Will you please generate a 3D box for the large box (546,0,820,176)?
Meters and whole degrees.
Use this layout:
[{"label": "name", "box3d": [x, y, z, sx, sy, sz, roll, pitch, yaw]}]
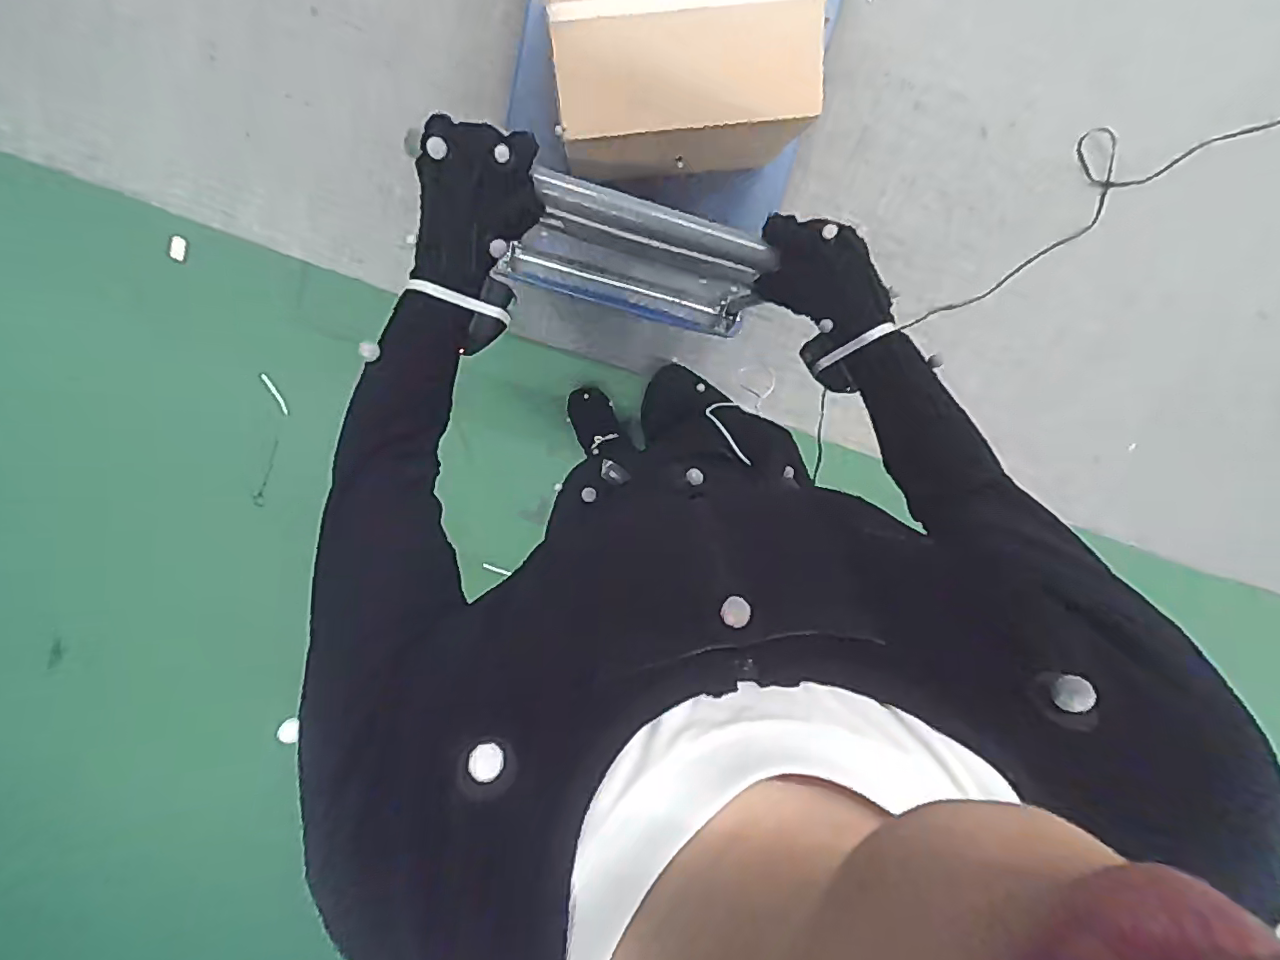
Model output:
[{"label": "large box", "box3d": [0.057, -0.742, 0.924, 0.408, 0.320, 0.320, -7, 107, -1]}]
